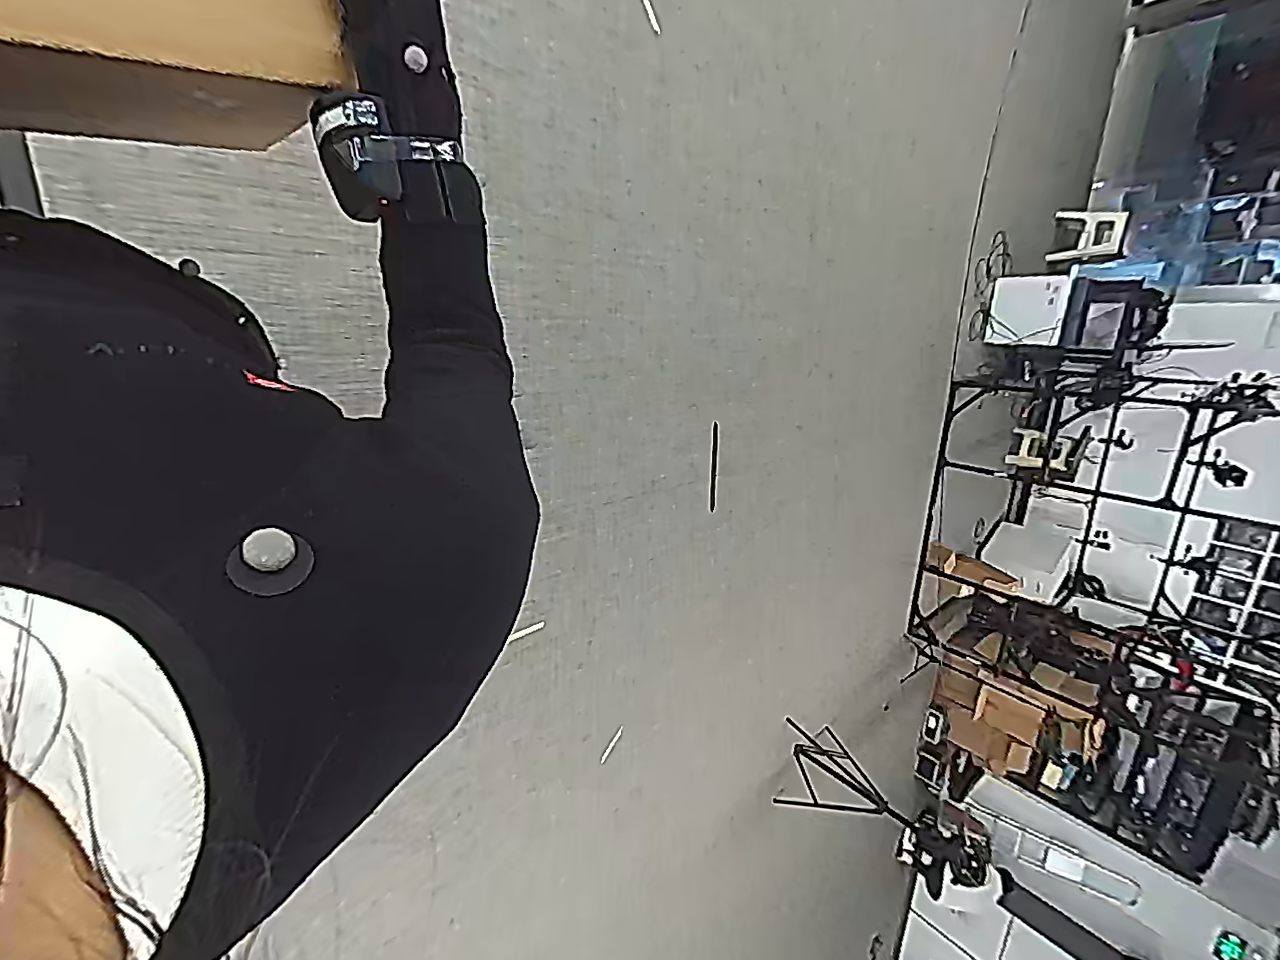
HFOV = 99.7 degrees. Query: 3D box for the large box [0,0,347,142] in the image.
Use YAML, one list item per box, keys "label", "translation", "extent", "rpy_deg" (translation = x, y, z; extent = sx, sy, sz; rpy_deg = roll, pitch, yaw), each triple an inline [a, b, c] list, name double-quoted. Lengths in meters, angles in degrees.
- label: "large box"
  translation: [-0.439, -0.379, 0.267]
  extent: [0.408, 0.320, 0.320]
  rpy_deg: [-22, 123, -38]
